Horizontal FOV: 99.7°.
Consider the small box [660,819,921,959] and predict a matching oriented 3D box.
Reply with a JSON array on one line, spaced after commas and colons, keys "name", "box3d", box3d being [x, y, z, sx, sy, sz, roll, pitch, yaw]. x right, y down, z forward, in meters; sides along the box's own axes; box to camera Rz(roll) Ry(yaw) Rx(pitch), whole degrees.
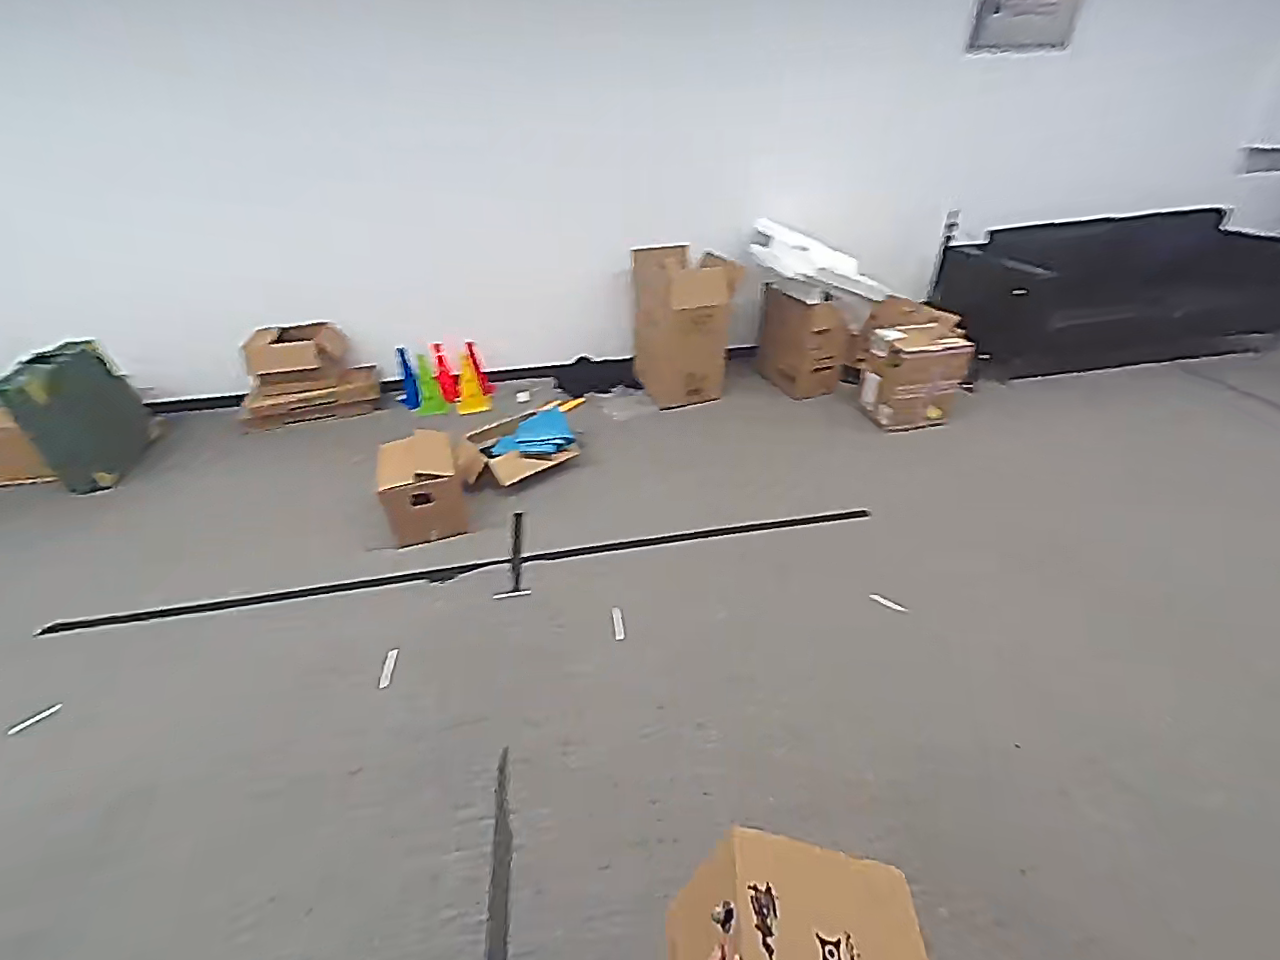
[{"name": "small box", "box3d": [0.125, 0.441, 0.467, 0.179, 0.176, 0.168, 19, 27, -5]}]
